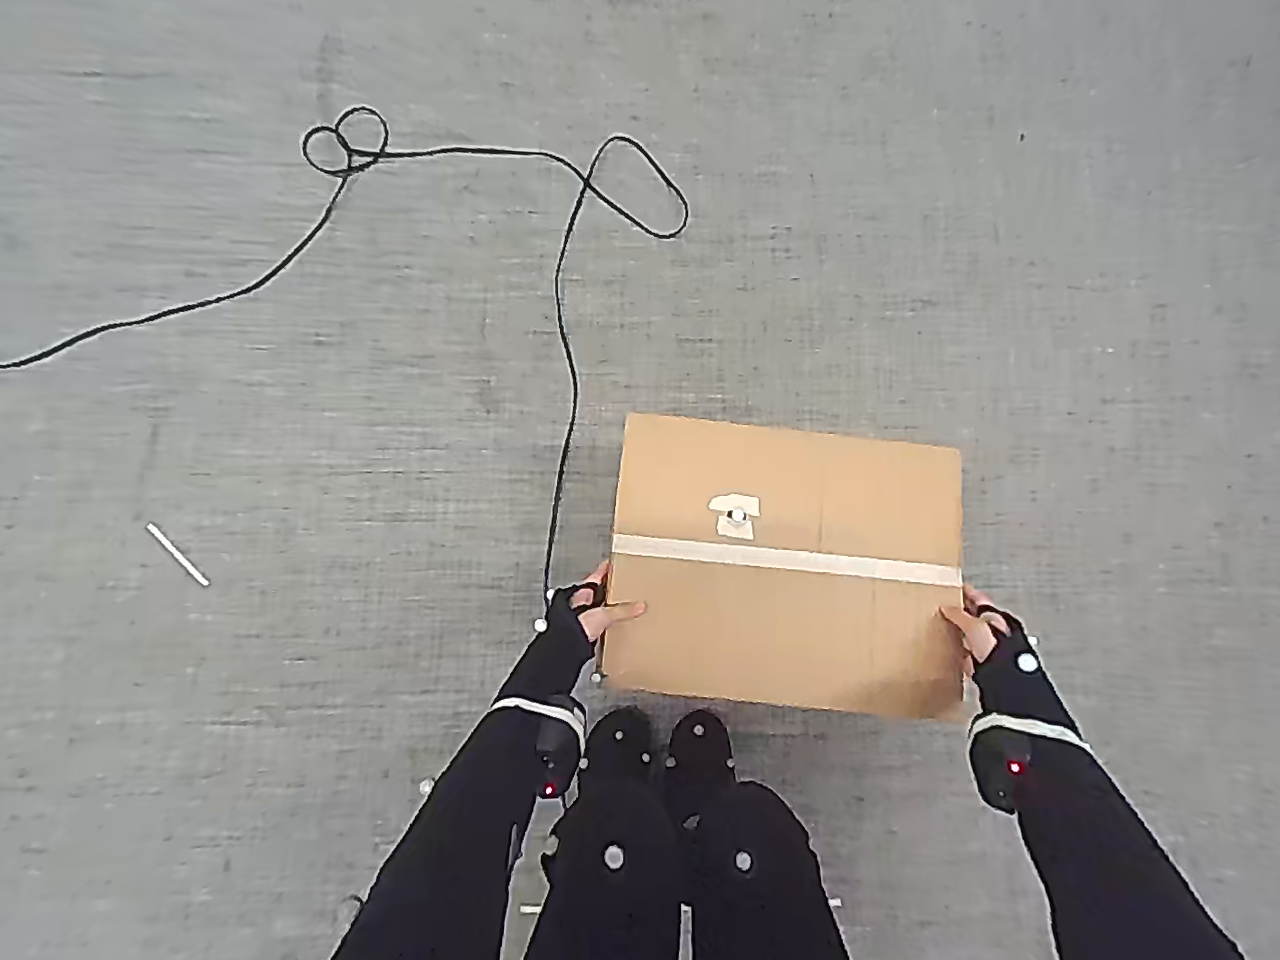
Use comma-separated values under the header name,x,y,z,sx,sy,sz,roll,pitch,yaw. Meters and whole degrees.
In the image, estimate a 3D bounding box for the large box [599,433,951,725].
name,x,y,z,sx,sy,sz,roll,pitch,yaw
large box,0.162,0.134,0.775,0.408,0.320,0.320,6,79,-1
